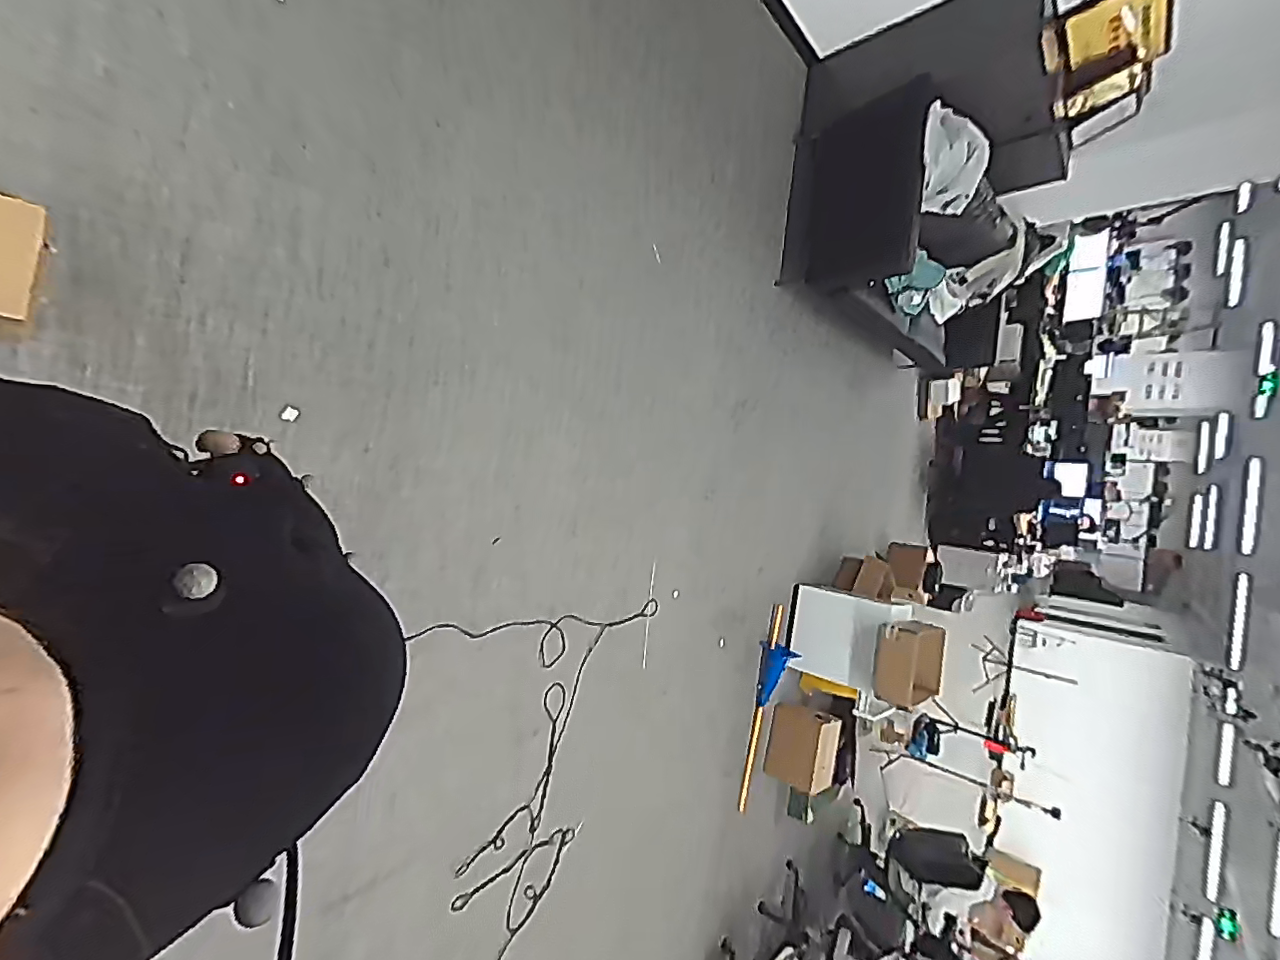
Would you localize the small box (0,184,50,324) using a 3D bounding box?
[{"bbox_3d":[-0.998,-0.343,0.790,0.168,0.176,0.179,10,89,-46],"label":"small box"}]

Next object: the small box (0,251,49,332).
[{"bbox_3d":[-1.119,-0.359,0.898,0.168,0.176,0.179,14,85,-48],"label":"small box"}]
